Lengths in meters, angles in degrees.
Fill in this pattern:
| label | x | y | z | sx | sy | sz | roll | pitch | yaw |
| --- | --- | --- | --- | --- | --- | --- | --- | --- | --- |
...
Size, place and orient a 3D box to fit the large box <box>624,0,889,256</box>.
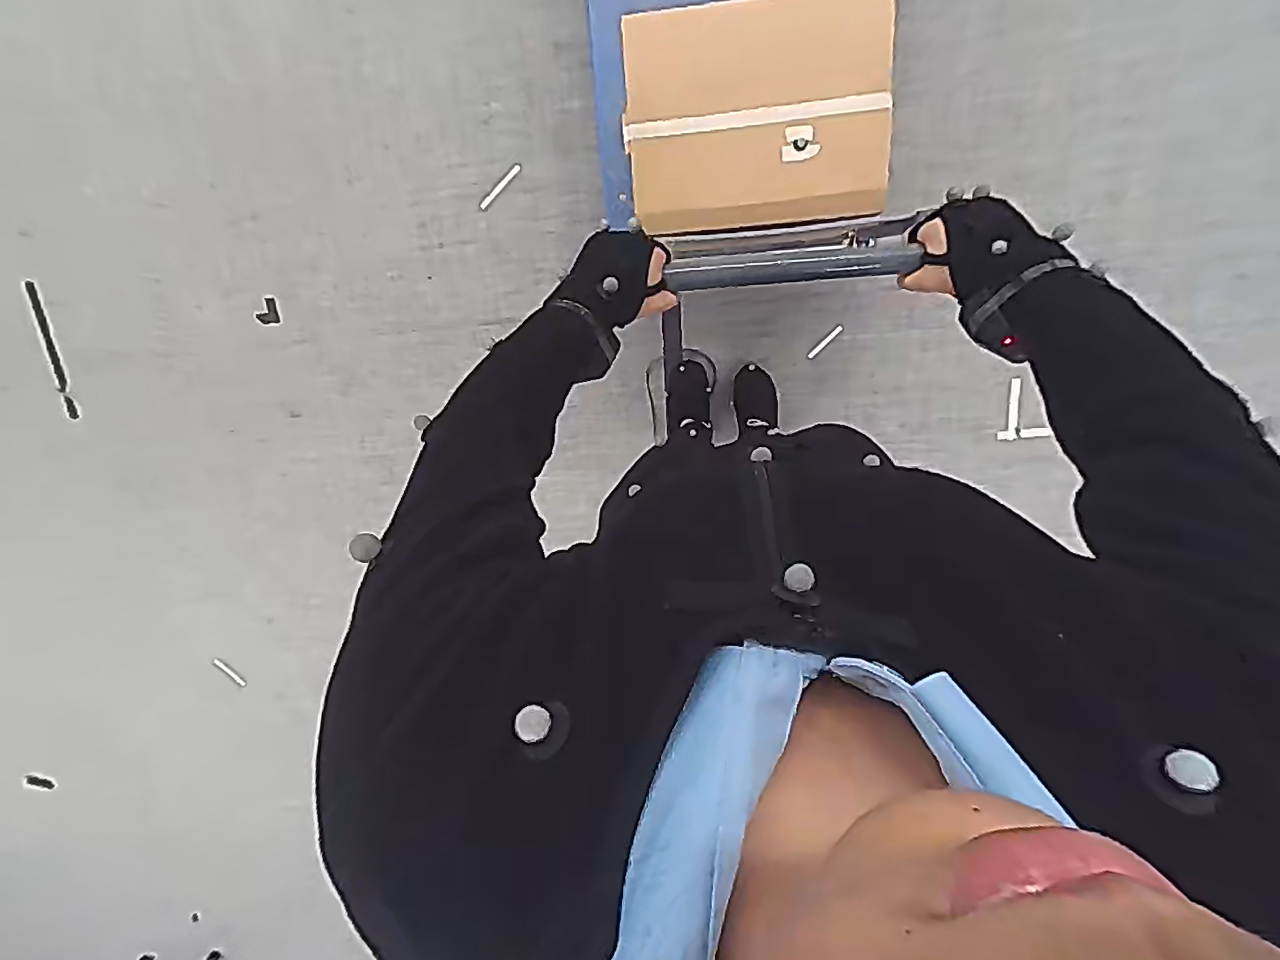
| label | x | y | z | sx | sy | sz | roll | pitch | yaw |
| --- | --- | --- | --- | --- | --- | --- | --- | --- | --- |
| large box | 0.197 | -0.616 | 1.001 | 0.408 | 0.320 | 0.320 | -3 | 108 | 6 |
